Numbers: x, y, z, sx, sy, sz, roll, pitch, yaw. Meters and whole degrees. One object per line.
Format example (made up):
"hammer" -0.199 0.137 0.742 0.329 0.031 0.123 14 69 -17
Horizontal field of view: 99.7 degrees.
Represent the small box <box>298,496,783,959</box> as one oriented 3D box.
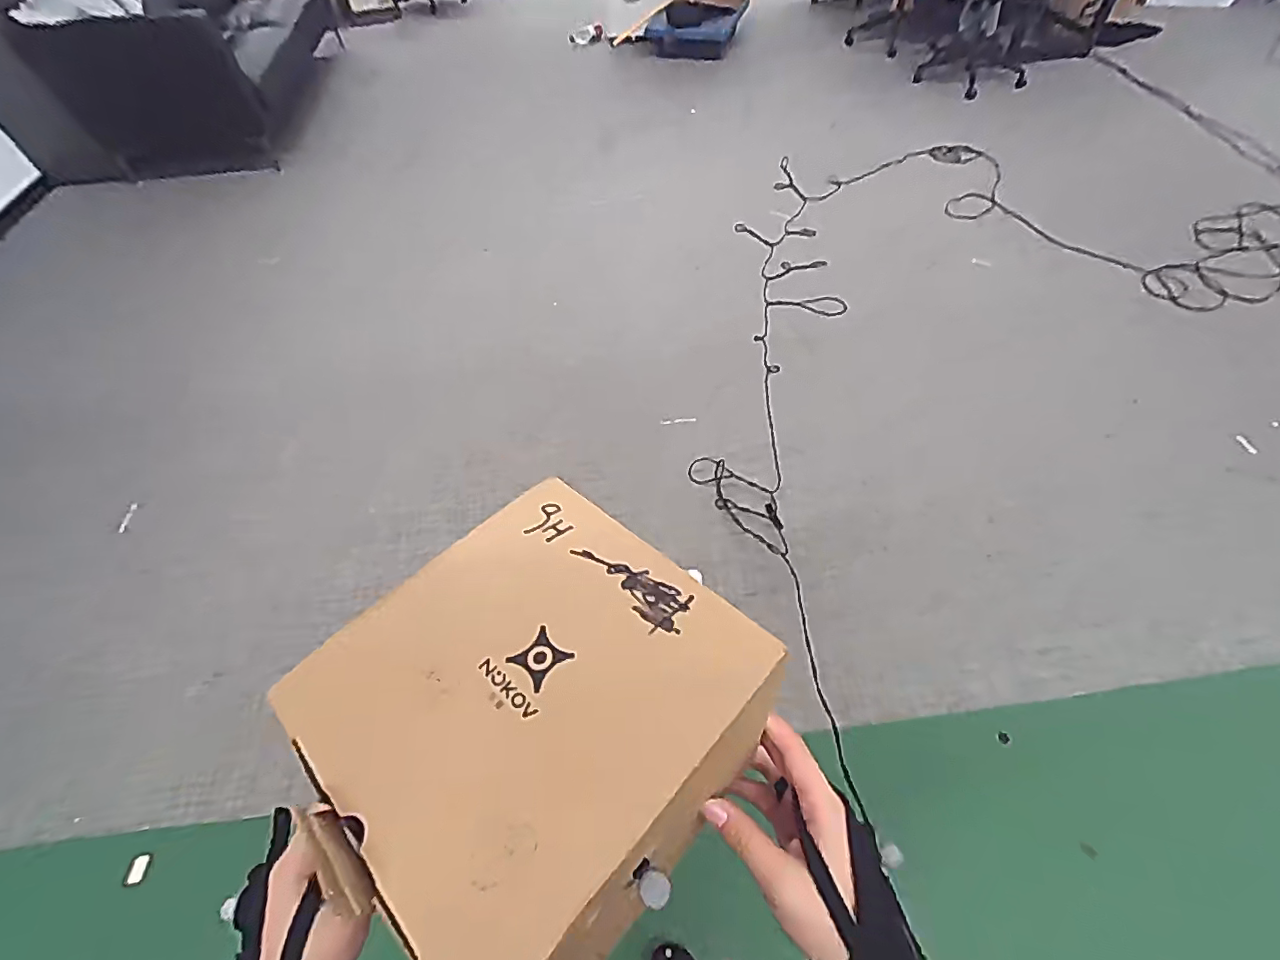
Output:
"small box" -0.040 0.150 0.312 0.168 0.176 0.179 33 59 30
